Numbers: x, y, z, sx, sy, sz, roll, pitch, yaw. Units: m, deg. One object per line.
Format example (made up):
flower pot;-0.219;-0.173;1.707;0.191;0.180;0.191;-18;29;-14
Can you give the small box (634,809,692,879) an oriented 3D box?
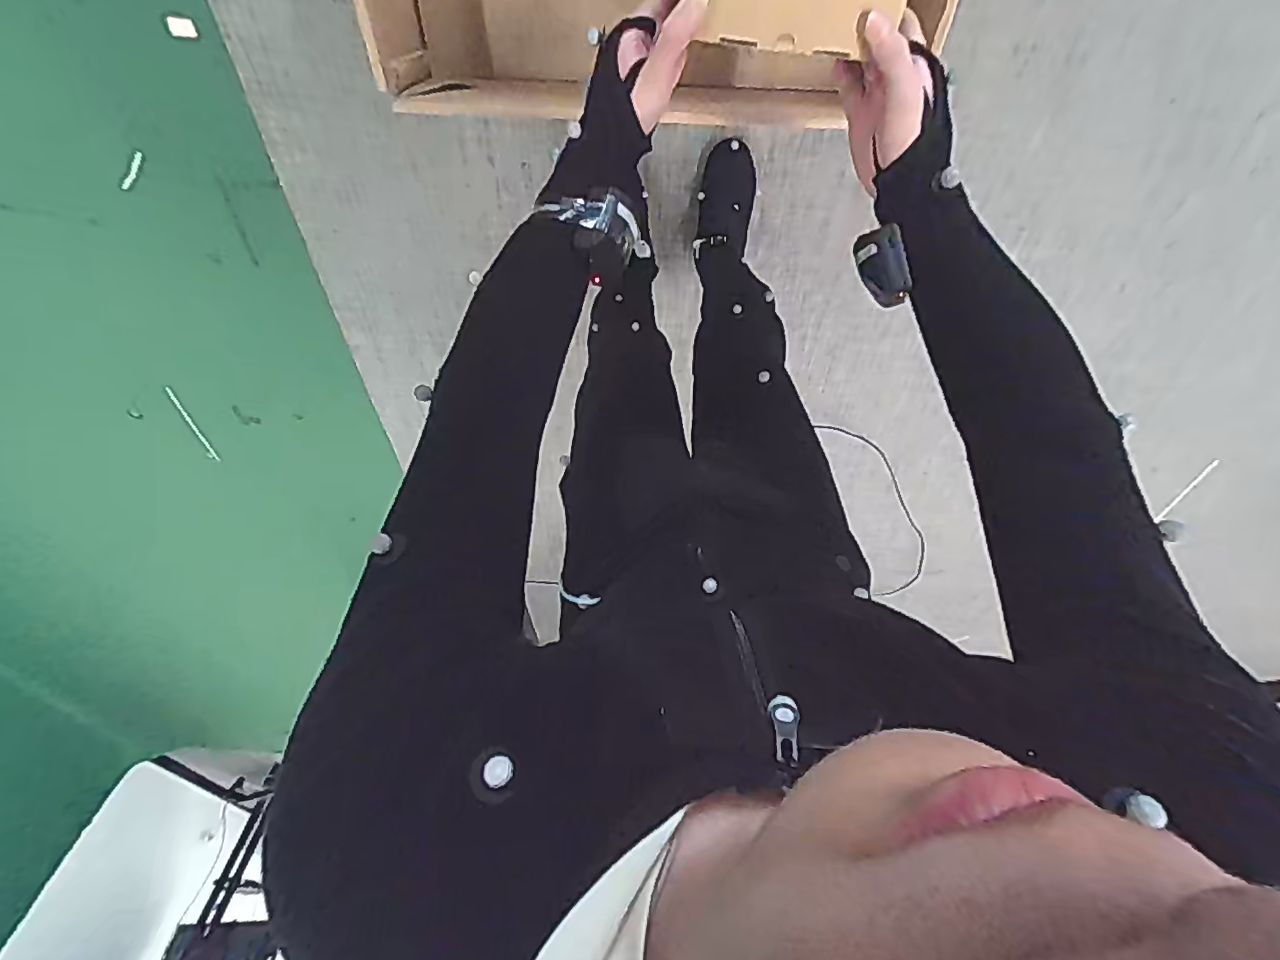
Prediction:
small box;0.083;1.283;1.912;0.179;0.176;0.168;9;135;-2

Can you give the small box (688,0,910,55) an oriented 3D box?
small box;0.129;-0.457;0.421;0.168;0.176;0.179;6;133;0
